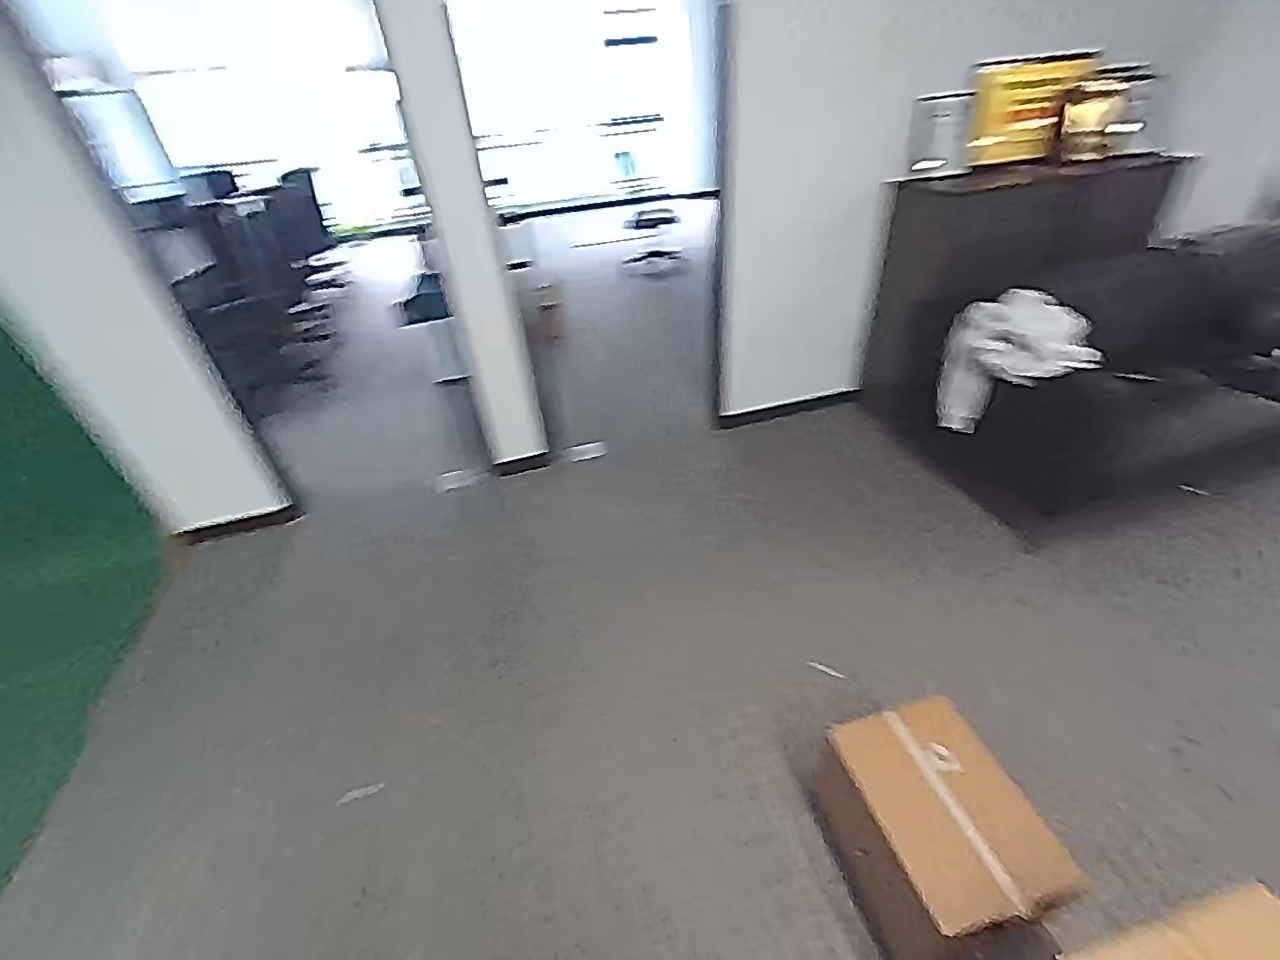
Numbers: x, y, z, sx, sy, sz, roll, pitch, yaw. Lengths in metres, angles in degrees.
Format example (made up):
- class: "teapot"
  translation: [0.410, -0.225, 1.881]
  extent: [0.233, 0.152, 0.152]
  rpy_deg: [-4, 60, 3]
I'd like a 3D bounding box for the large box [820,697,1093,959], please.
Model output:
- class: "large box"
  translation: [0.650, 0.780, 1.204]
  extent: [0.320, 0.320, 0.408]
  rpy_deg: [-11, 36, -9]
